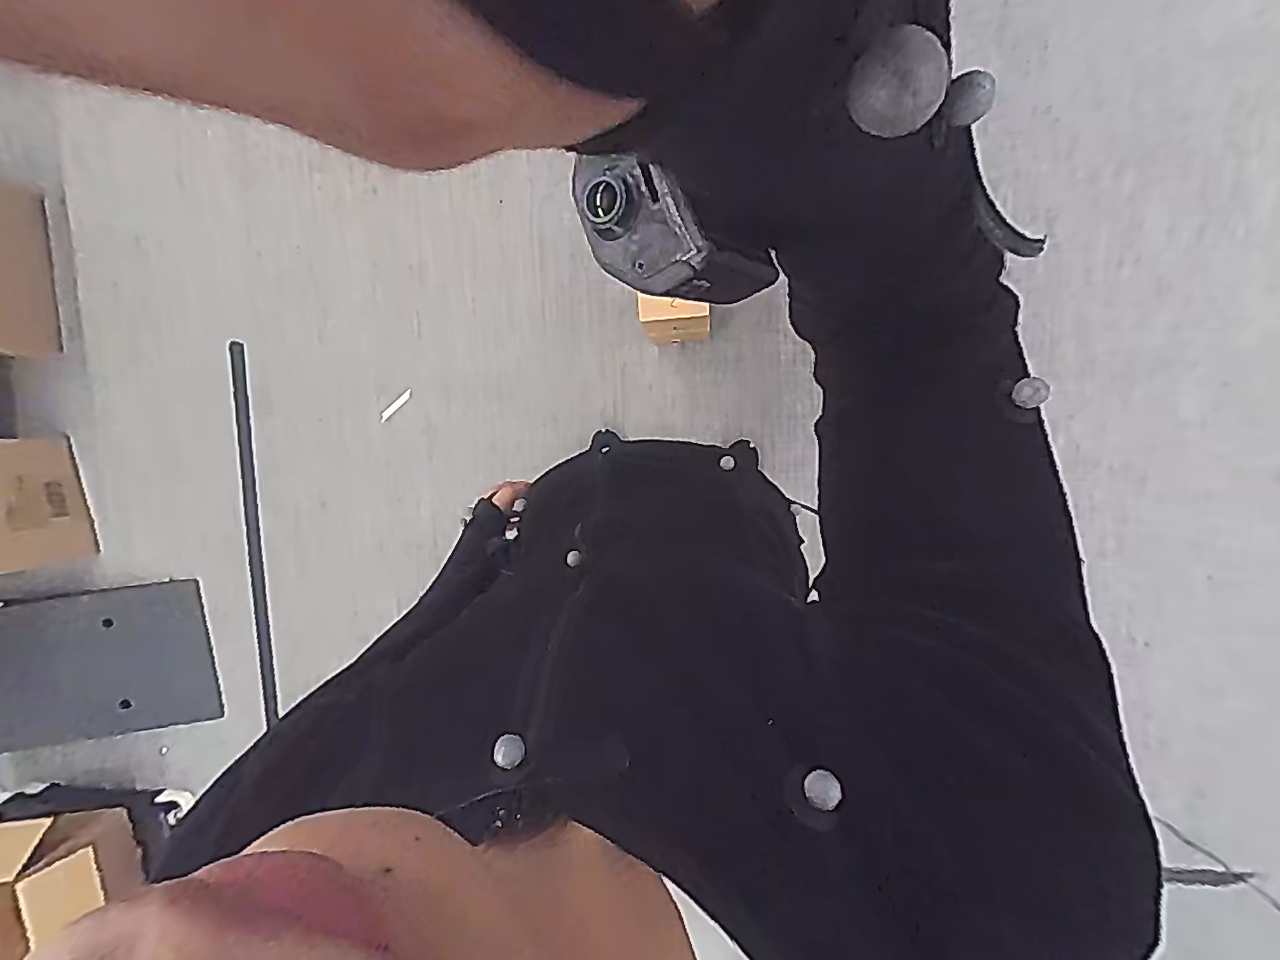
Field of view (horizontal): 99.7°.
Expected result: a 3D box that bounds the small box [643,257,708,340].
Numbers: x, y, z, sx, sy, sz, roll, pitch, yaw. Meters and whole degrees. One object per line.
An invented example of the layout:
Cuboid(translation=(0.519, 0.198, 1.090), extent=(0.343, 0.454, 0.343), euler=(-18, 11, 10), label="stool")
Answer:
Cuboid(translation=(0.101, -0.491, 1.485), extent=(0.168, 0.176, 0.179), euler=(-3, 95, 7), label="small box")
